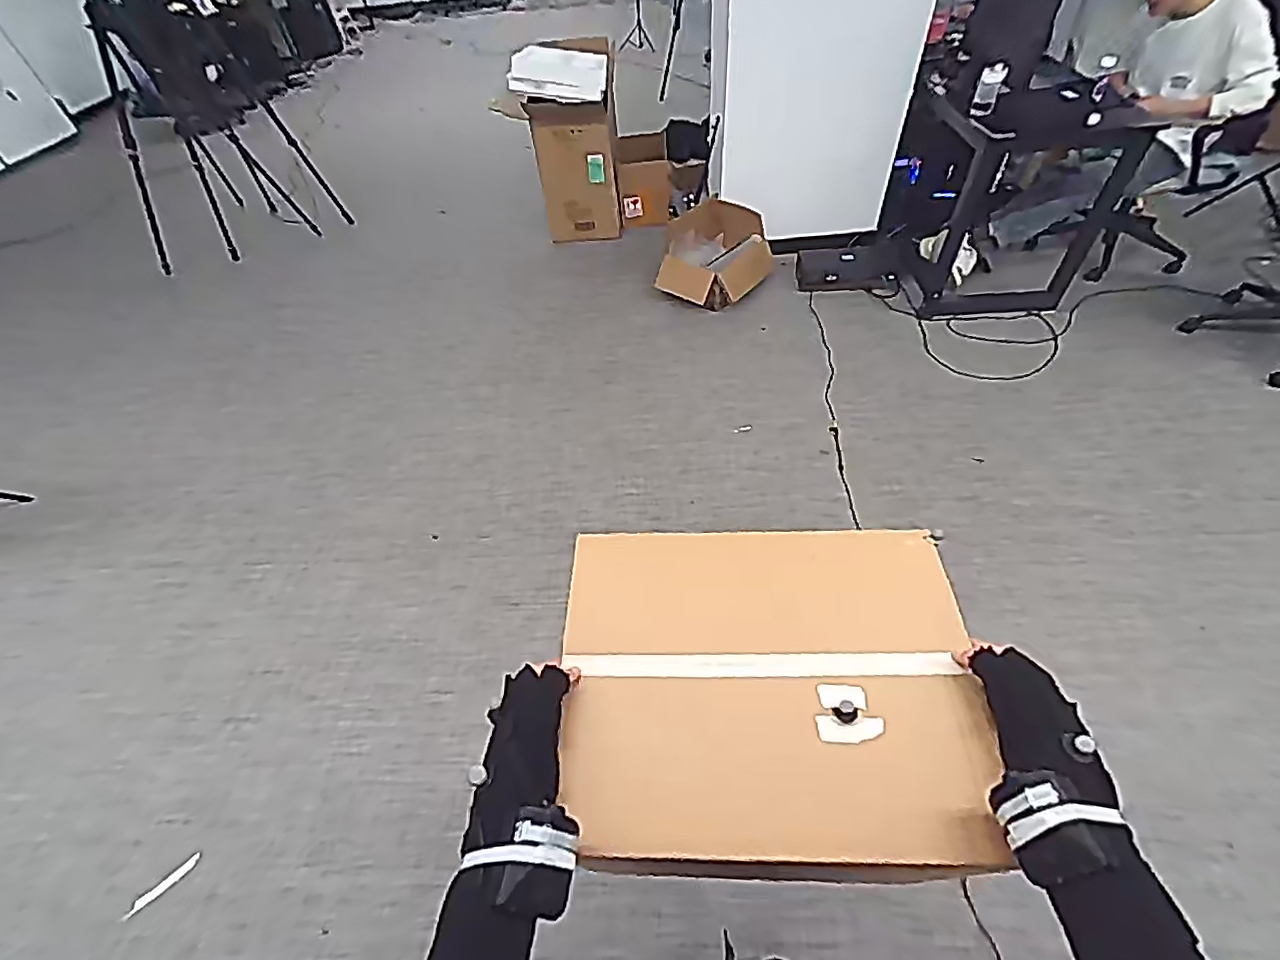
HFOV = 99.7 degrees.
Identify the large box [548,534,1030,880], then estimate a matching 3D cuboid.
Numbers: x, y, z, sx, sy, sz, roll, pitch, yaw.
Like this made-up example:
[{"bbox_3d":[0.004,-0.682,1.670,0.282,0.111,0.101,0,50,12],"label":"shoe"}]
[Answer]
[{"bbox_3d":[0.127,0.280,0.651,0.408,0.320,0.320,-1,51,3],"label":"large box"}]
